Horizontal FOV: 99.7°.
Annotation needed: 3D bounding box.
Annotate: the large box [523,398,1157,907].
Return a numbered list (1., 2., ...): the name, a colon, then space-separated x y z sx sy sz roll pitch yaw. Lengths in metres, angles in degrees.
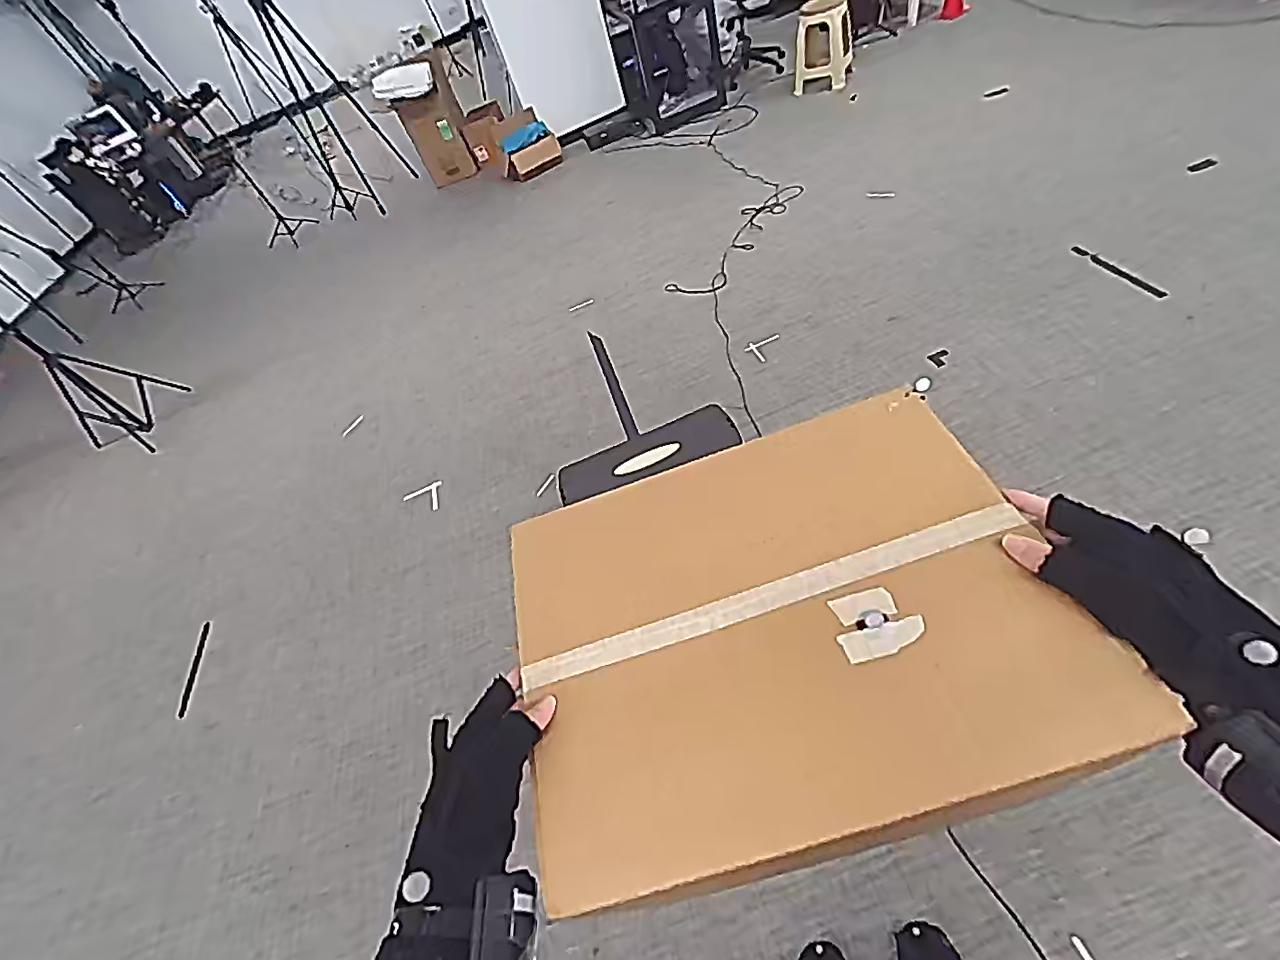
1. large box: 0.139 0.186 0.550 0.408 0.320 0.320 -20 51 3
